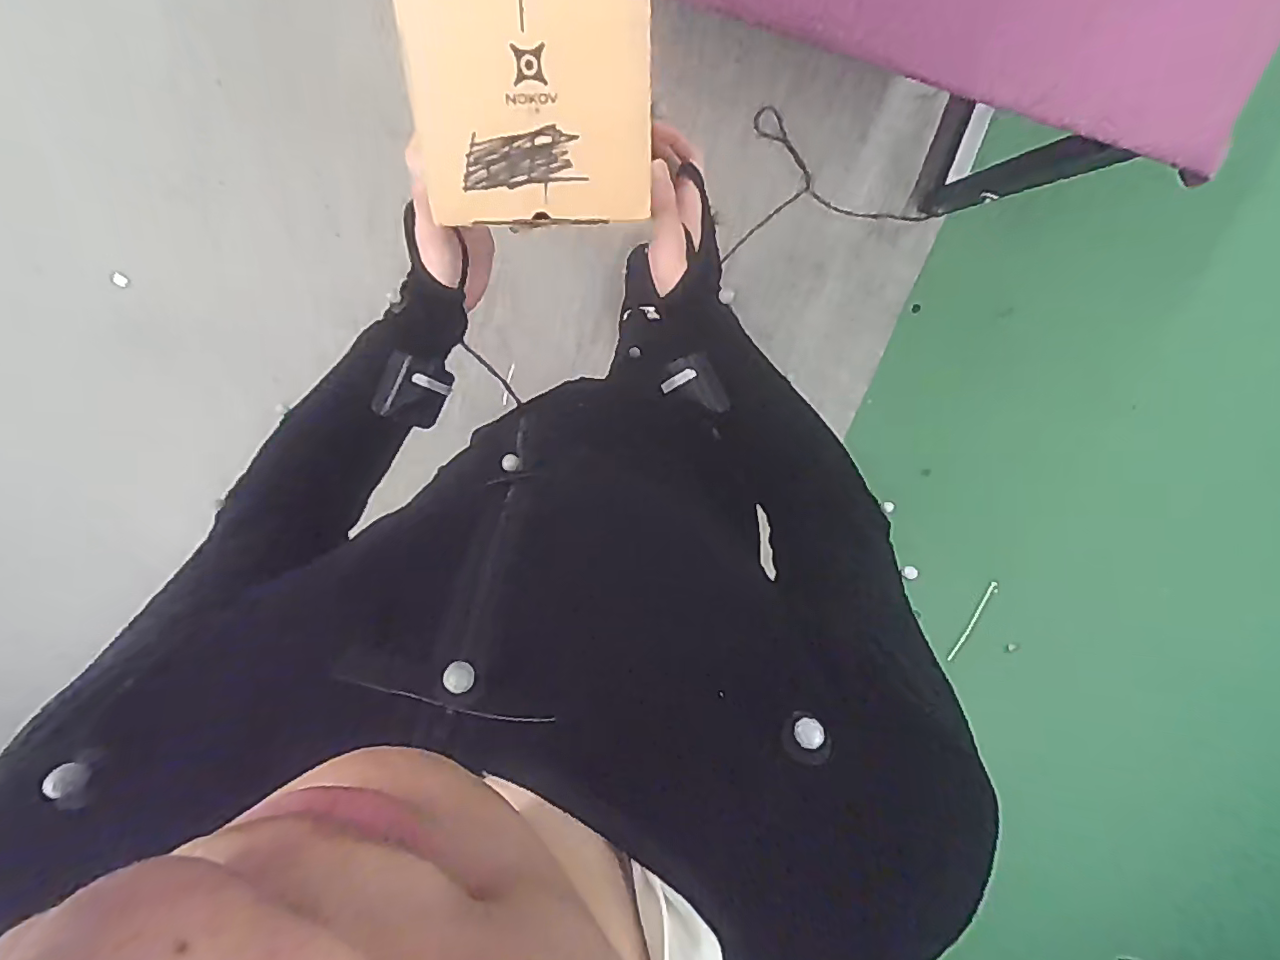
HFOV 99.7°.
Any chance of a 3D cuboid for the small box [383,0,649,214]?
[{"bbox_3d":[-0.077,-0.309,0.420,0.168,0.176,0.179,-1,118,1],"label":"small box"}]
